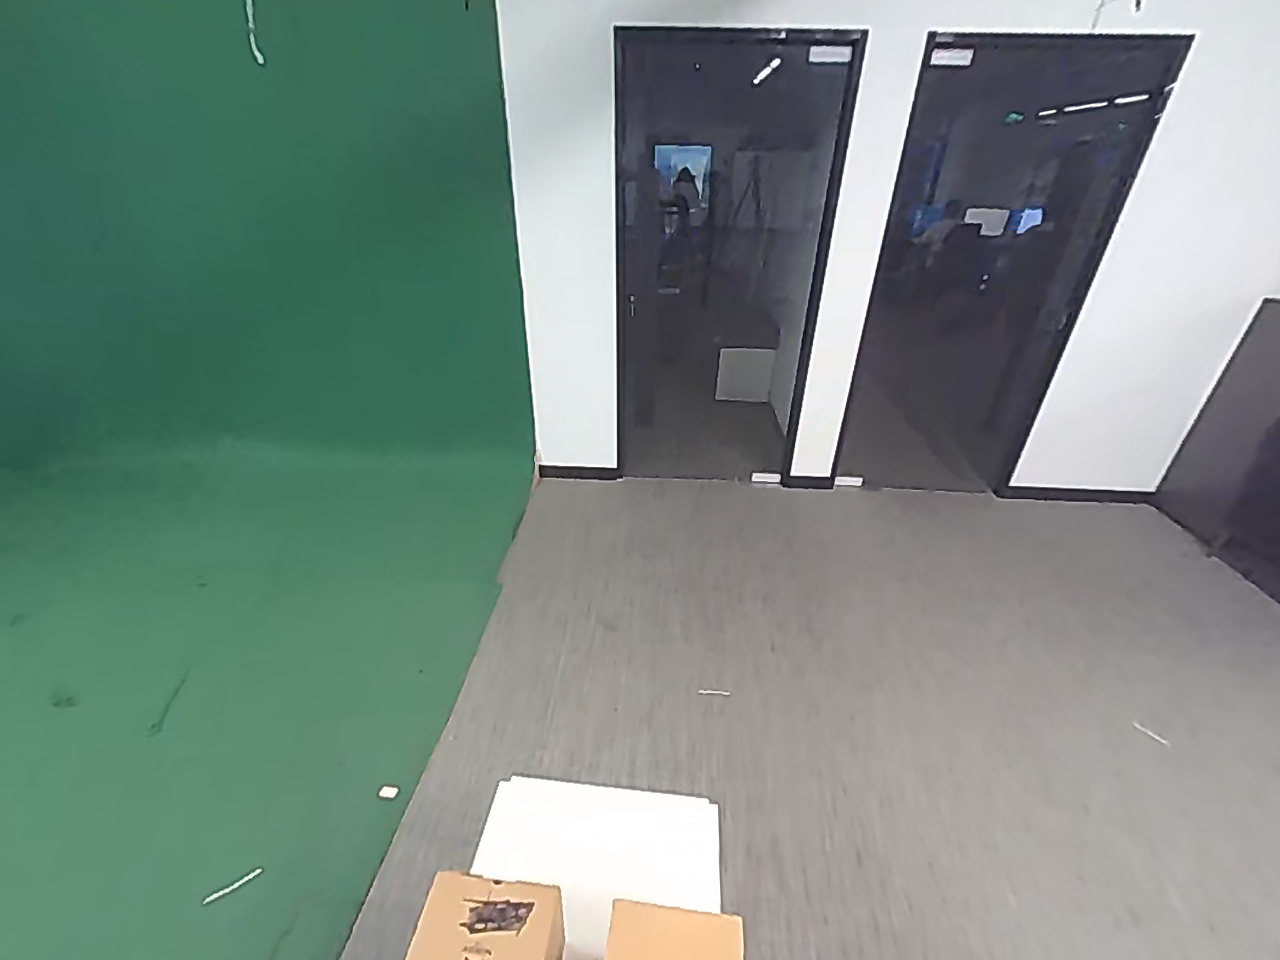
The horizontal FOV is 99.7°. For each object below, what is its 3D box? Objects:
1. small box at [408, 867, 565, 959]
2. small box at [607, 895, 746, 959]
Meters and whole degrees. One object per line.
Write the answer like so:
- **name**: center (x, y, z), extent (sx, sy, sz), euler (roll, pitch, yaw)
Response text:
- **small box**: center (-0.192, 0.632, 0.676), extent (0.168, 0.176, 0.179), euler (4, 31, 4)
- **small box**: center (0.037, 0.651, 0.651), extent (0.168, 0.176, 0.179), euler (4, 31, 7)
